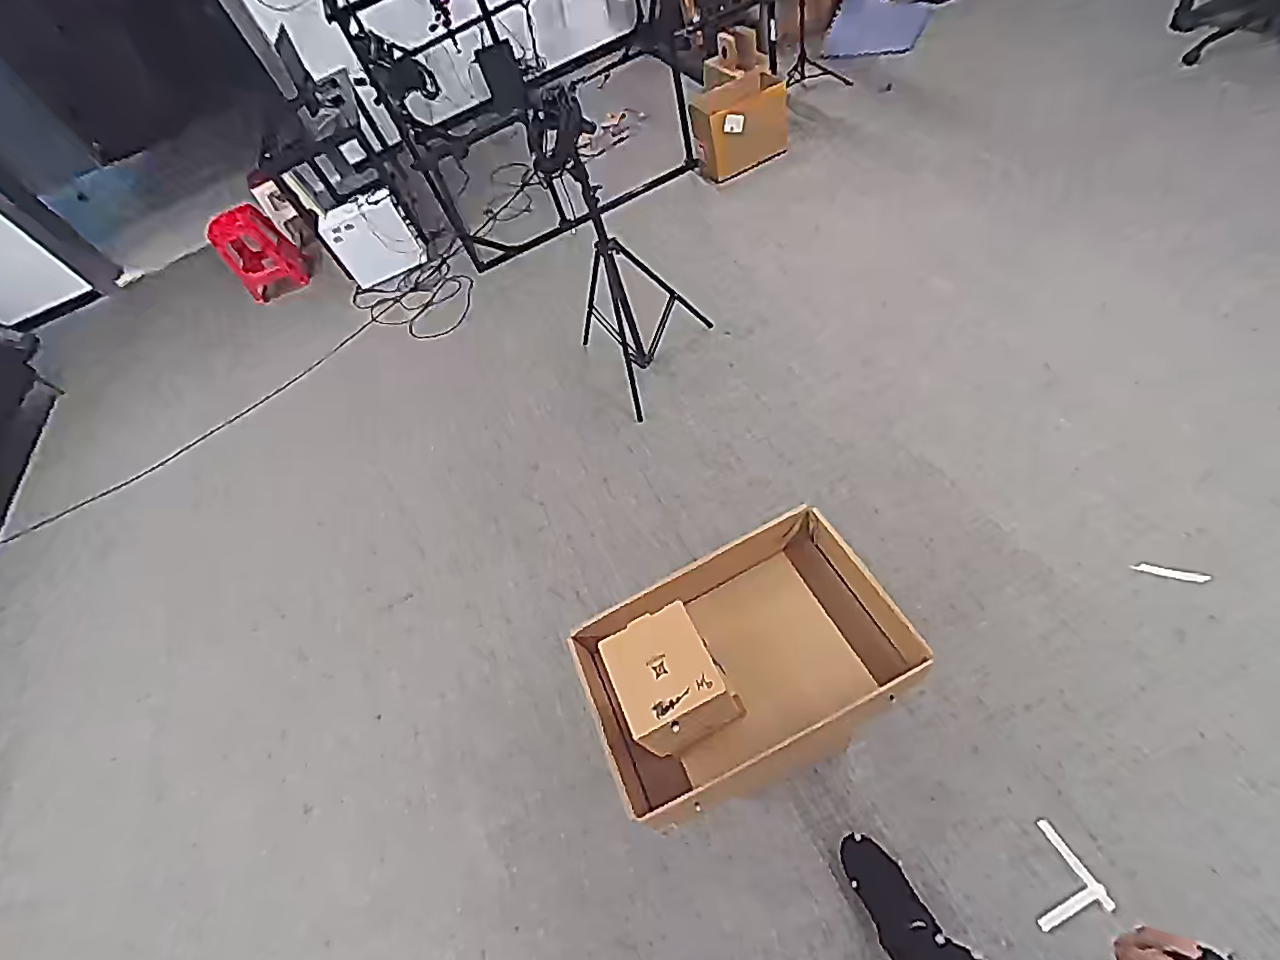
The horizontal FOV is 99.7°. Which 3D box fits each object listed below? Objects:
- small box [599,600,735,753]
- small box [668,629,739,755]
[{"bbox_3d":[0.050,0.349,0.952,0.168,0.176,0.179,-28,51,-2],"label":"small box"},{"bbox_3d":[0.086,0.426,1.093,0.179,0.176,0.168,-32,52,-5],"label":"small box"}]
